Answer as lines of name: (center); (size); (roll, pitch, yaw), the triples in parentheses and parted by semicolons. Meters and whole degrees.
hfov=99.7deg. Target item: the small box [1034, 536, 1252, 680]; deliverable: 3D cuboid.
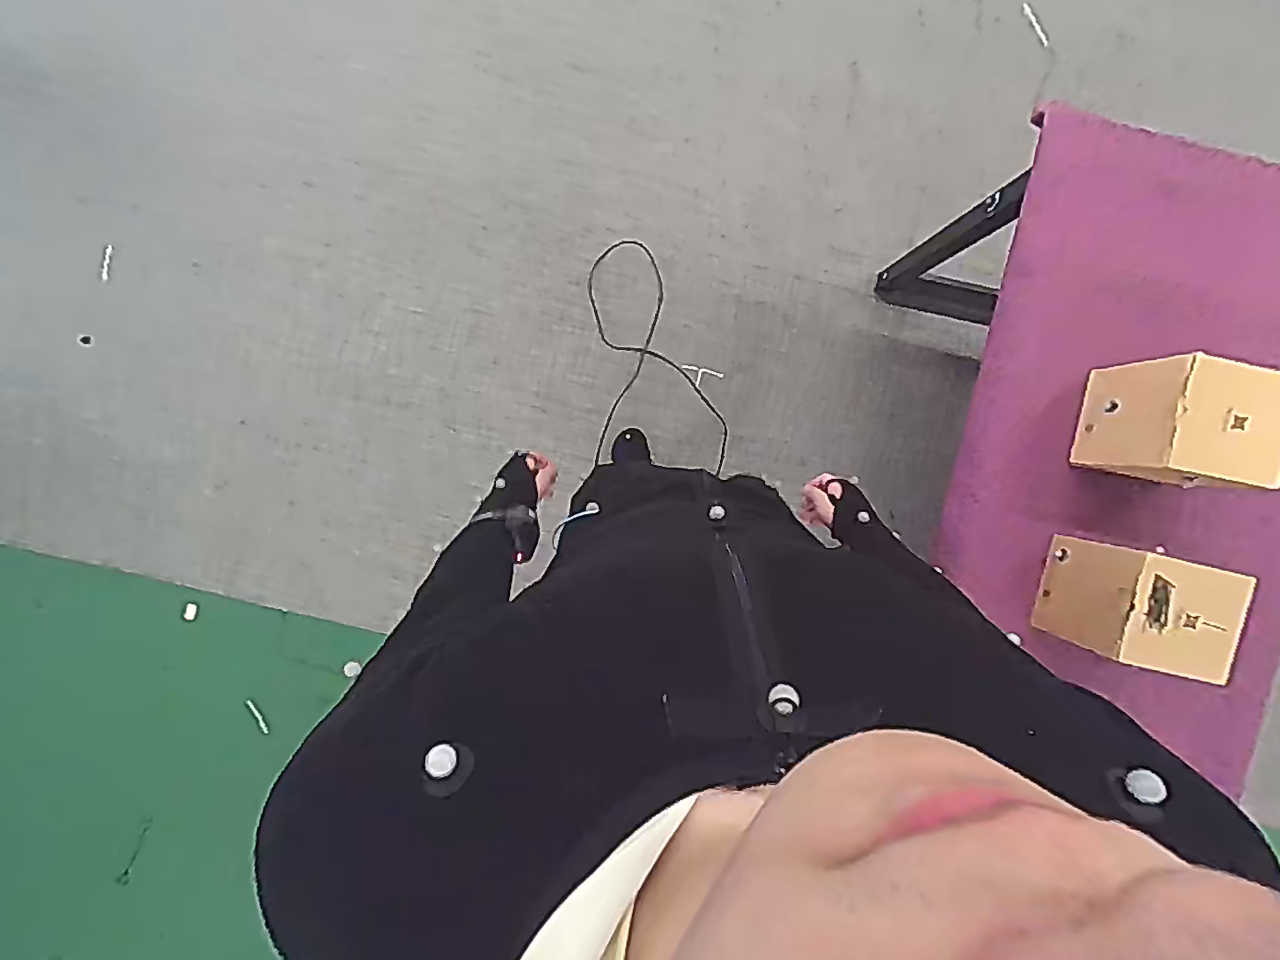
small box: (0.779, 0.190, 0.858); (0.179, 0.176, 0.168); (12, 92, -1)

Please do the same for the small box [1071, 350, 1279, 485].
small box: (0.836, -0.093, 0.843); (0.179, 0.176, 0.168); (11, 93, -2)
